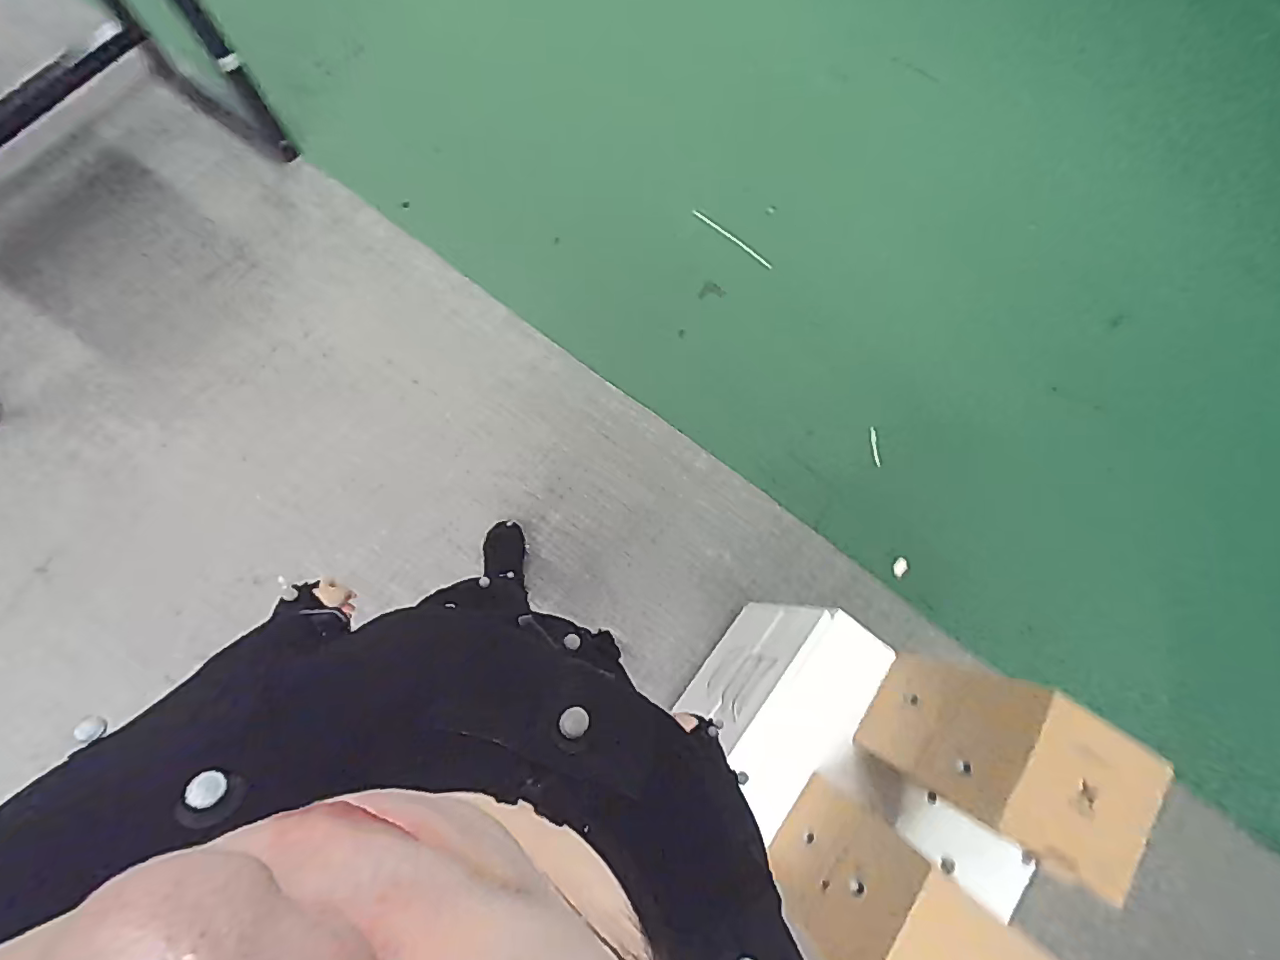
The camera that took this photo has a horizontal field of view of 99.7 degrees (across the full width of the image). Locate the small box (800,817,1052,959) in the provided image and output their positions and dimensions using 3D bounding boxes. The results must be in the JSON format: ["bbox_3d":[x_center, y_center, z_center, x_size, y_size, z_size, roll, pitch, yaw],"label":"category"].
[{"bbox_3d":[0.327,0.548,0.654,0.179,0.176,0.168,39,77,2],"label":"small box"}]

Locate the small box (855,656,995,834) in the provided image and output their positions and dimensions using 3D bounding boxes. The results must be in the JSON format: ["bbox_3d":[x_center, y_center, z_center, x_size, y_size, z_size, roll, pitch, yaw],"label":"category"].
[{"bbox_3d":[0.482,0.406,0.869,0.168,0.176,0.179,35,79,2],"label":"small box"}]

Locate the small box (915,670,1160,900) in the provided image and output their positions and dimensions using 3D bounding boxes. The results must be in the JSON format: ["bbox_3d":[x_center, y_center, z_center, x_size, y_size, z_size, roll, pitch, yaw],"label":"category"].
[{"bbox_3d":[0.500,0.378,0.708,0.168,0.176,0.179,33,78,0],"label":"small box"}]
